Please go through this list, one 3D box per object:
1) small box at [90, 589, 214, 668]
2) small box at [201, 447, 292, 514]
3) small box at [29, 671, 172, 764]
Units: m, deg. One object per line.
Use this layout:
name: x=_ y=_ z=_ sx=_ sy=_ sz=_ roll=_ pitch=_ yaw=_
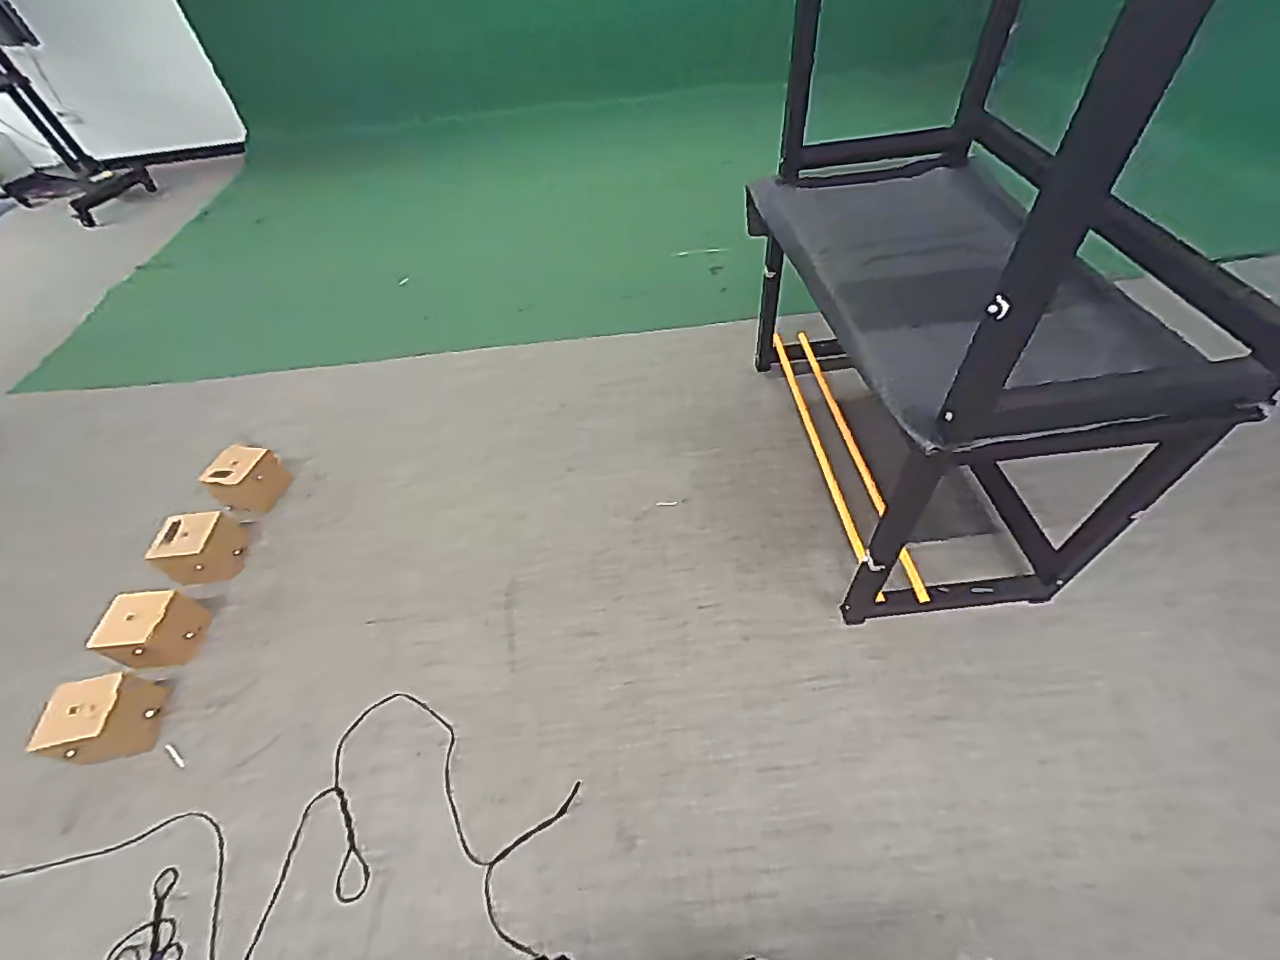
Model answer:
small box: x=-1.431 y=0.443 z=1.600 sx=0.179 sy=0.176 sz=0.168 roll=-5 pitch=50 yaw=1
small box: x=-1.417 y=0.003 z=1.963 sx=0.168 sy=0.176 sz=0.179 roll=6 pitch=50 yaw=10
small box: x=-1.417 y=0.634 z=1.436 sx=0.179 sy=0.176 sz=0.168 roll=-12 pitch=51 yaw=-4
